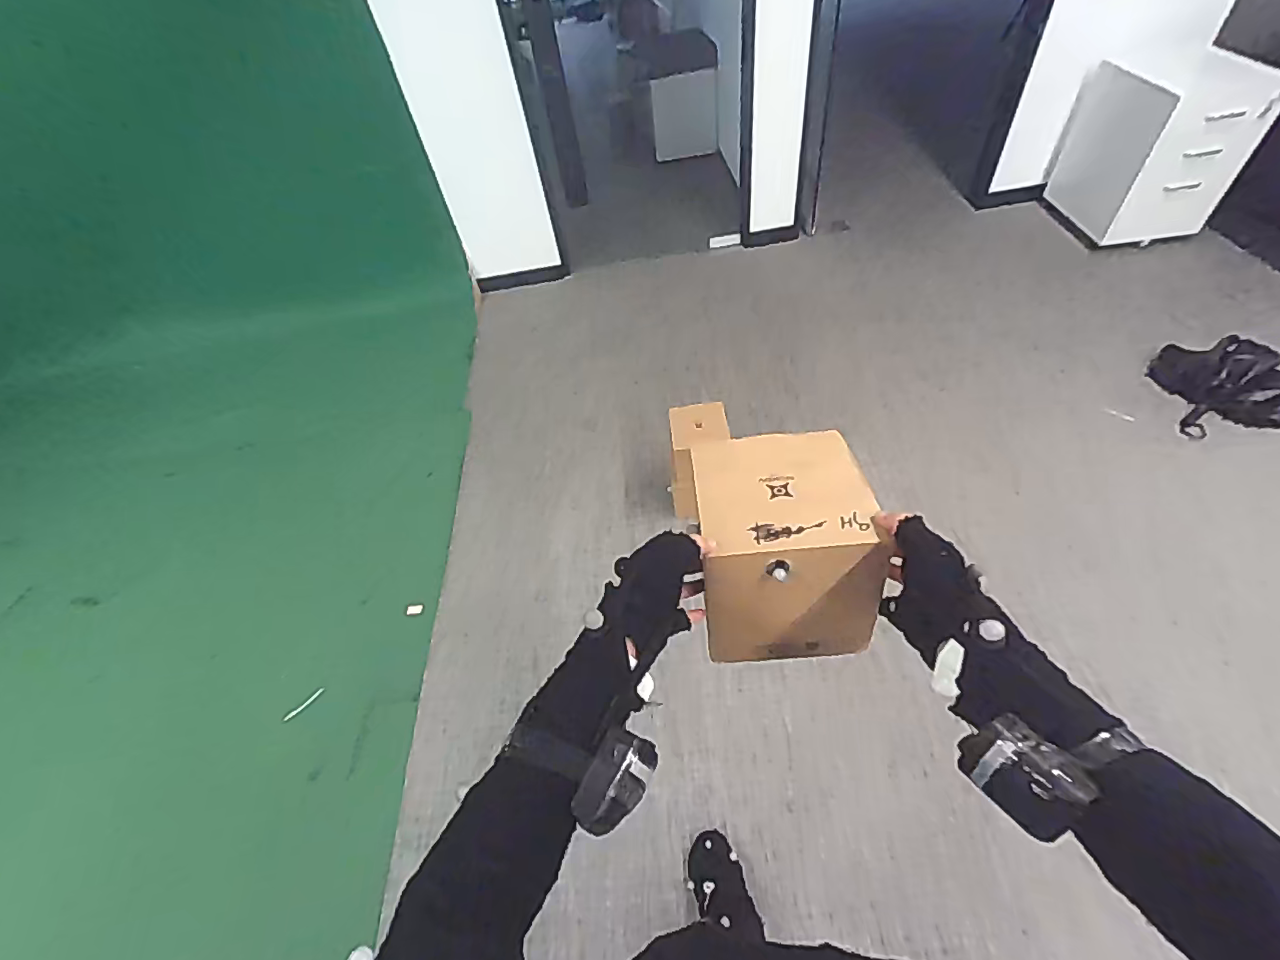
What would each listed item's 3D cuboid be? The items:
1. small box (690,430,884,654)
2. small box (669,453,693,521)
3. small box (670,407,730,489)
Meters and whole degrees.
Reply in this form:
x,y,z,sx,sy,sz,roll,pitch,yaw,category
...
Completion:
x,y,z,sx,sy,sz,roll,pitch,yaw,category
0.144,0.066,0.595,0.168,0.176,0.179,-6,37,4,small box
0.193,0.017,1.767,0.179,0.176,0.168,-7,49,5,small box
0.187,-0.095,1.651,0.168,0.176,0.179,-8,50,4,small box
